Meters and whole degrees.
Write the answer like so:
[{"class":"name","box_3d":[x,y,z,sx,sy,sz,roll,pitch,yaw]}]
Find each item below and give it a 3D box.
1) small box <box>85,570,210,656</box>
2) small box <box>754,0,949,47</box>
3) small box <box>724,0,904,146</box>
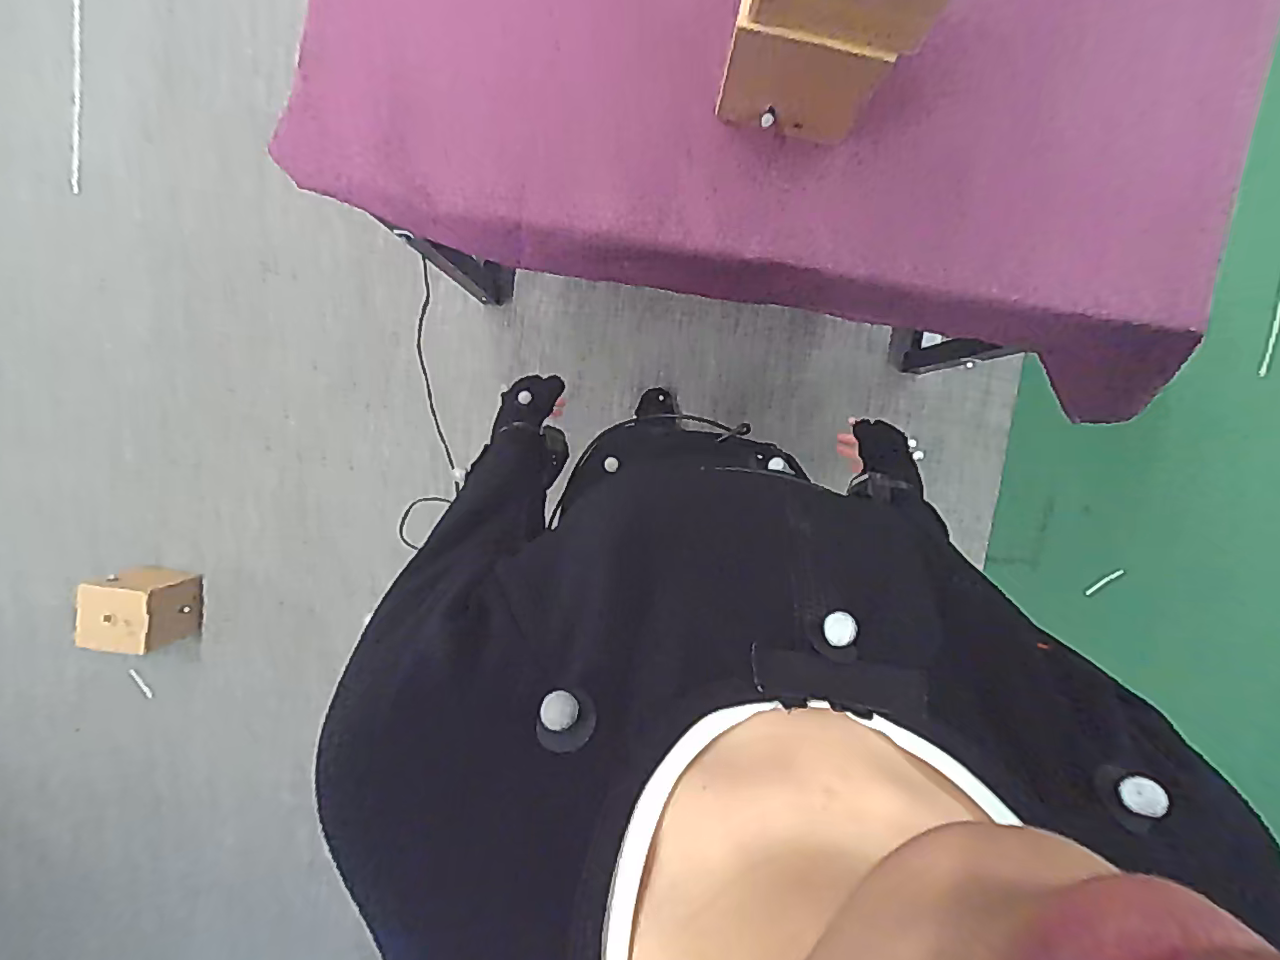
[{"class":"small box","box_3d":[-1.288,0.341,1.422,0.179,0.176,0.168,7,96,-1]},{"class":"small box","box_3d":[0.204,-0.507,0.445,0.179,0.176,0.168,11,95,0]},{"class":"small box","box_3d":[0.199,-0.521,0.606,0.168,0.176,0.179,13,96,0]}]
